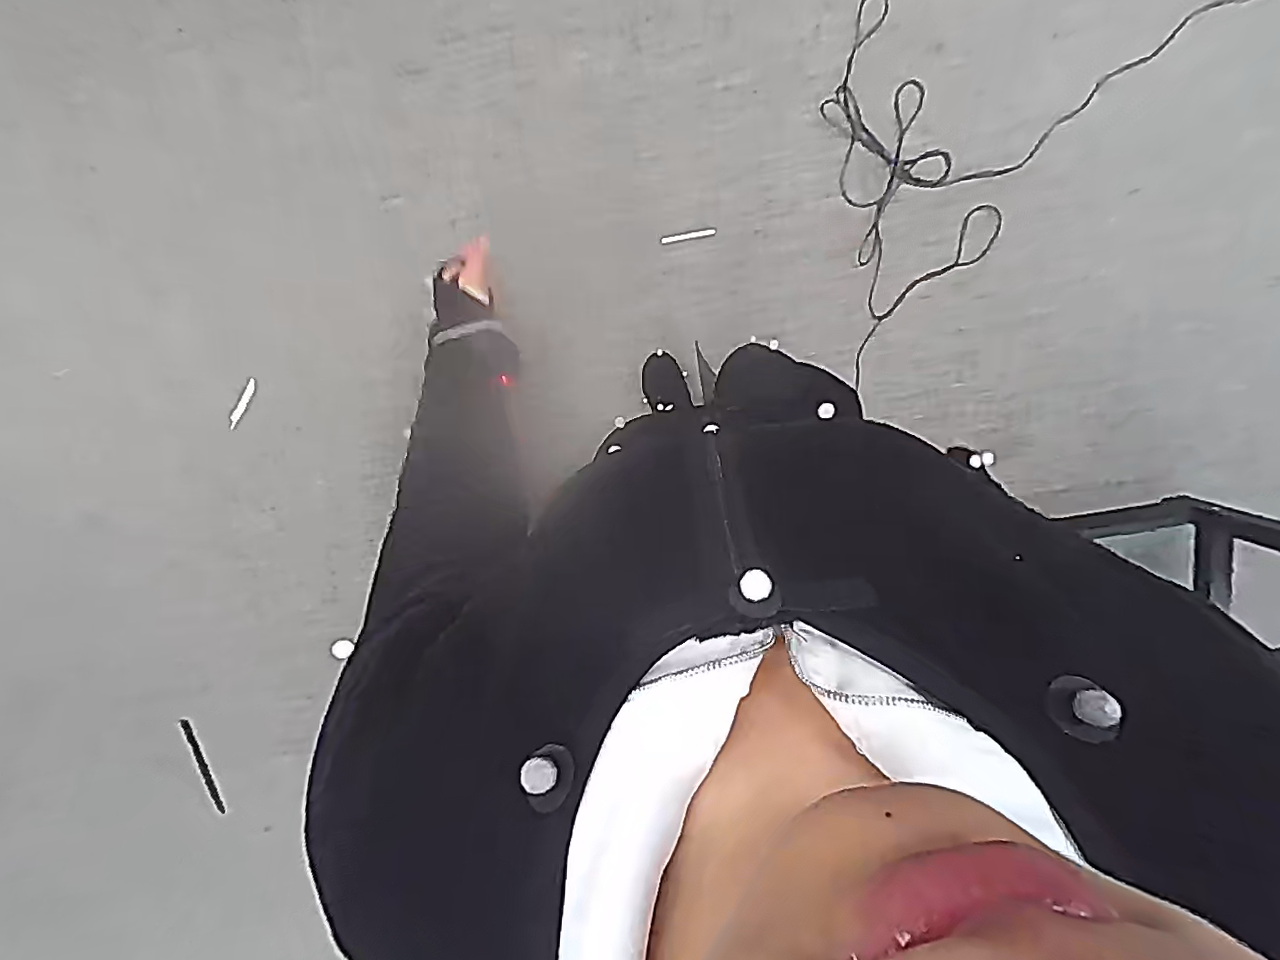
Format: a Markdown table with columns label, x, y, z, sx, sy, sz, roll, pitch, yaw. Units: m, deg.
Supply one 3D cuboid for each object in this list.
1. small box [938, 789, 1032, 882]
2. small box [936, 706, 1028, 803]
| label | x | y | z | sx | sy | sz | roll | pitch | yaw |
| --- | --- | --- | --- | --- | --- | --- | --- | --- | --- |
| small box | 1.013 | 1.036 | 1.596 | 0.179 | 0.176 | 0.168 | -10 | 100 | 5 |
| small box | 0.972 | 0.781 | 1.547 | 0.168 | 0.176 | 0.179 | -10 | 100 | 4 |
